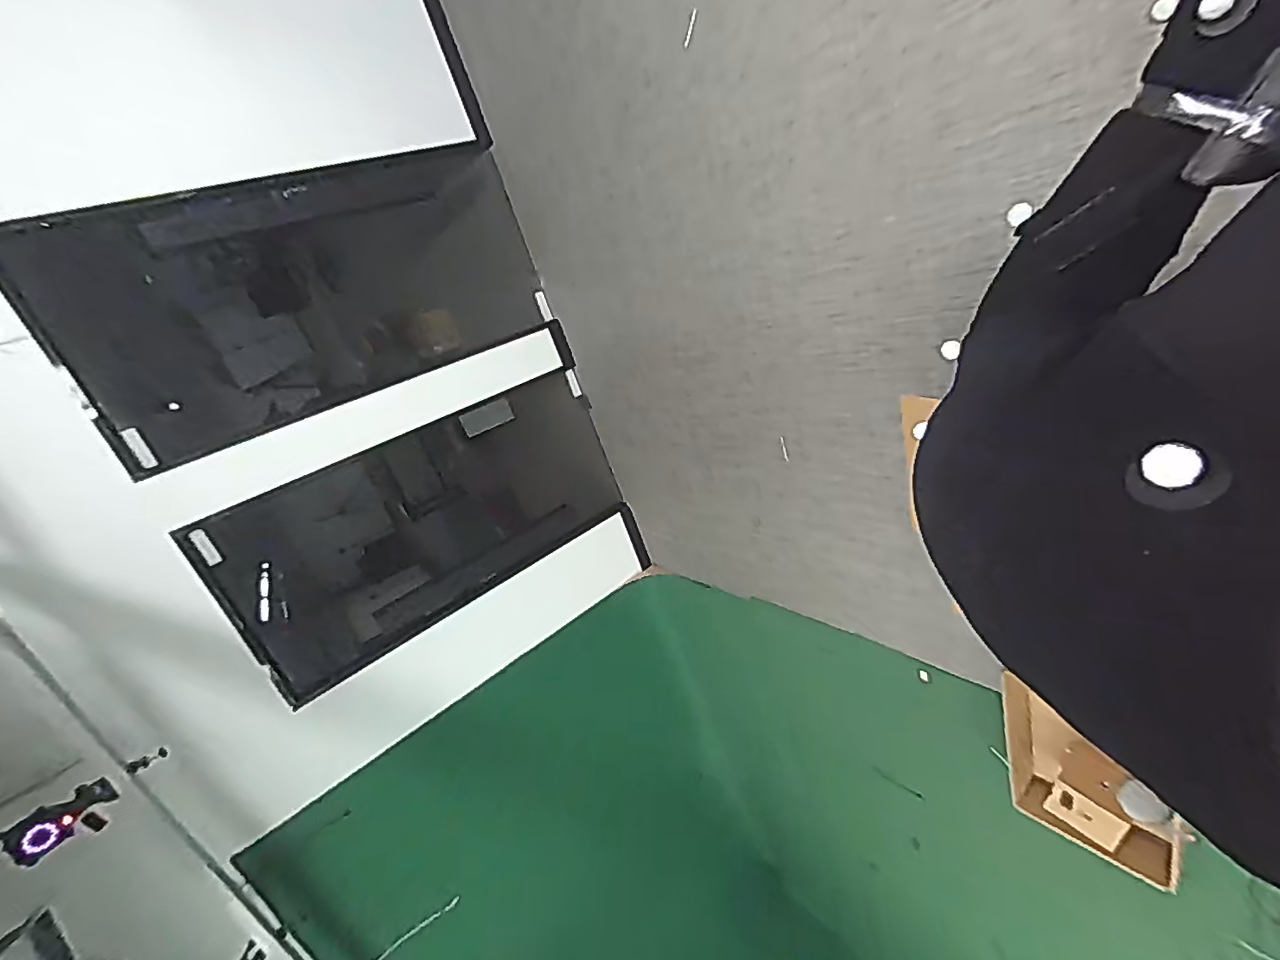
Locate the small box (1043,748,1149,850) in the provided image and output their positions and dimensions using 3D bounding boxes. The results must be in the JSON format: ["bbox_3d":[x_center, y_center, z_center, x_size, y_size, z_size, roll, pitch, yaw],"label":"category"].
[{"bbox_3d":[1.348,0.931,1.601,0.179,0.176,0.168,30,139,45],"label":"small box"}]
